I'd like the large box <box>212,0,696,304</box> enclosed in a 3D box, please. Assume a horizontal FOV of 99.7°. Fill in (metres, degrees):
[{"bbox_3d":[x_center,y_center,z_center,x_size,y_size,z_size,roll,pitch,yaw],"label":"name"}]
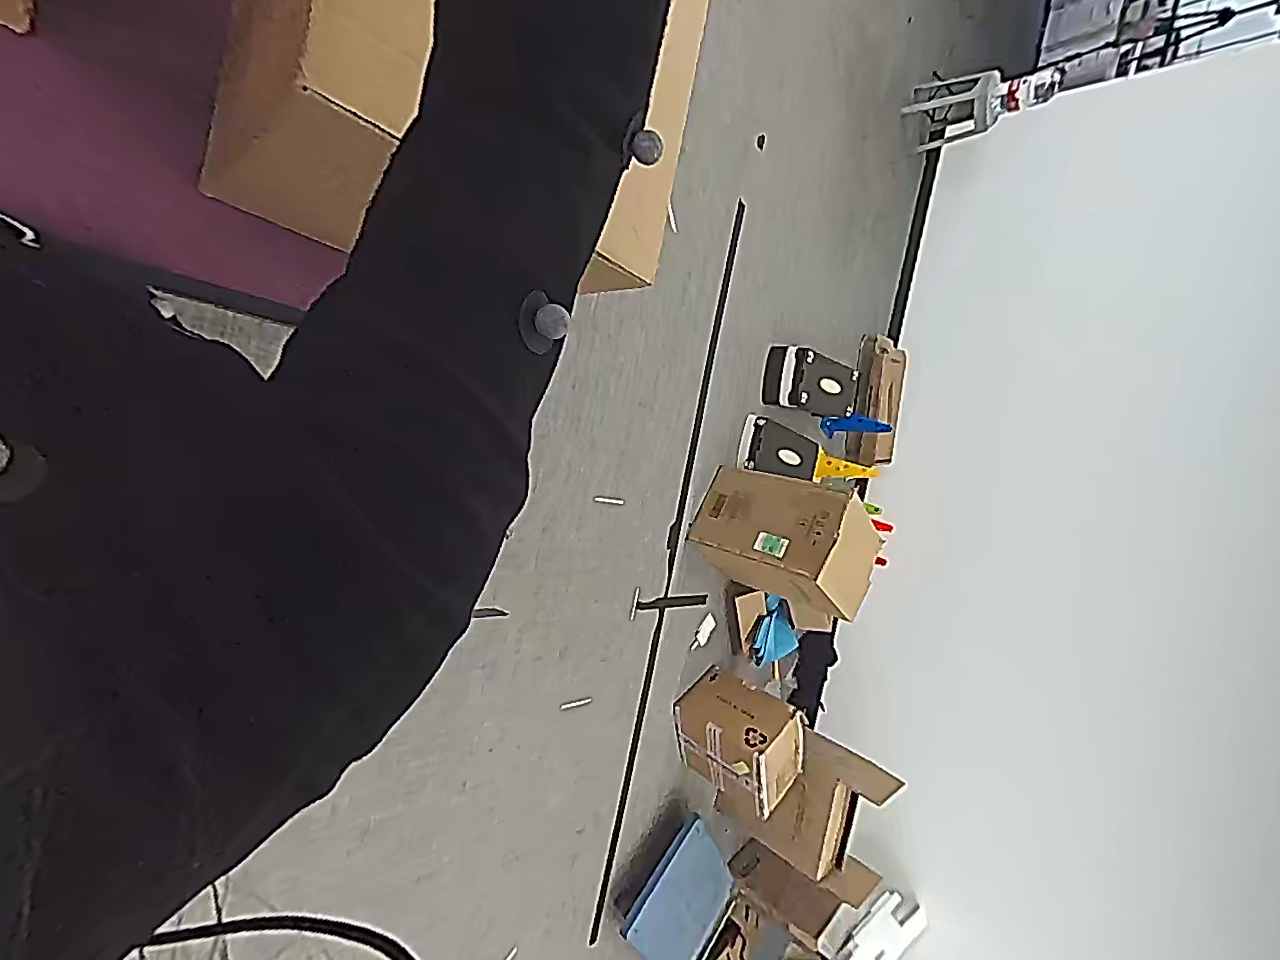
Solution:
[{"bbox_3d":[-0.170,-0.421,0.517,0.320,0.320,0.408,9,92,-49],"label":"large box"}]
